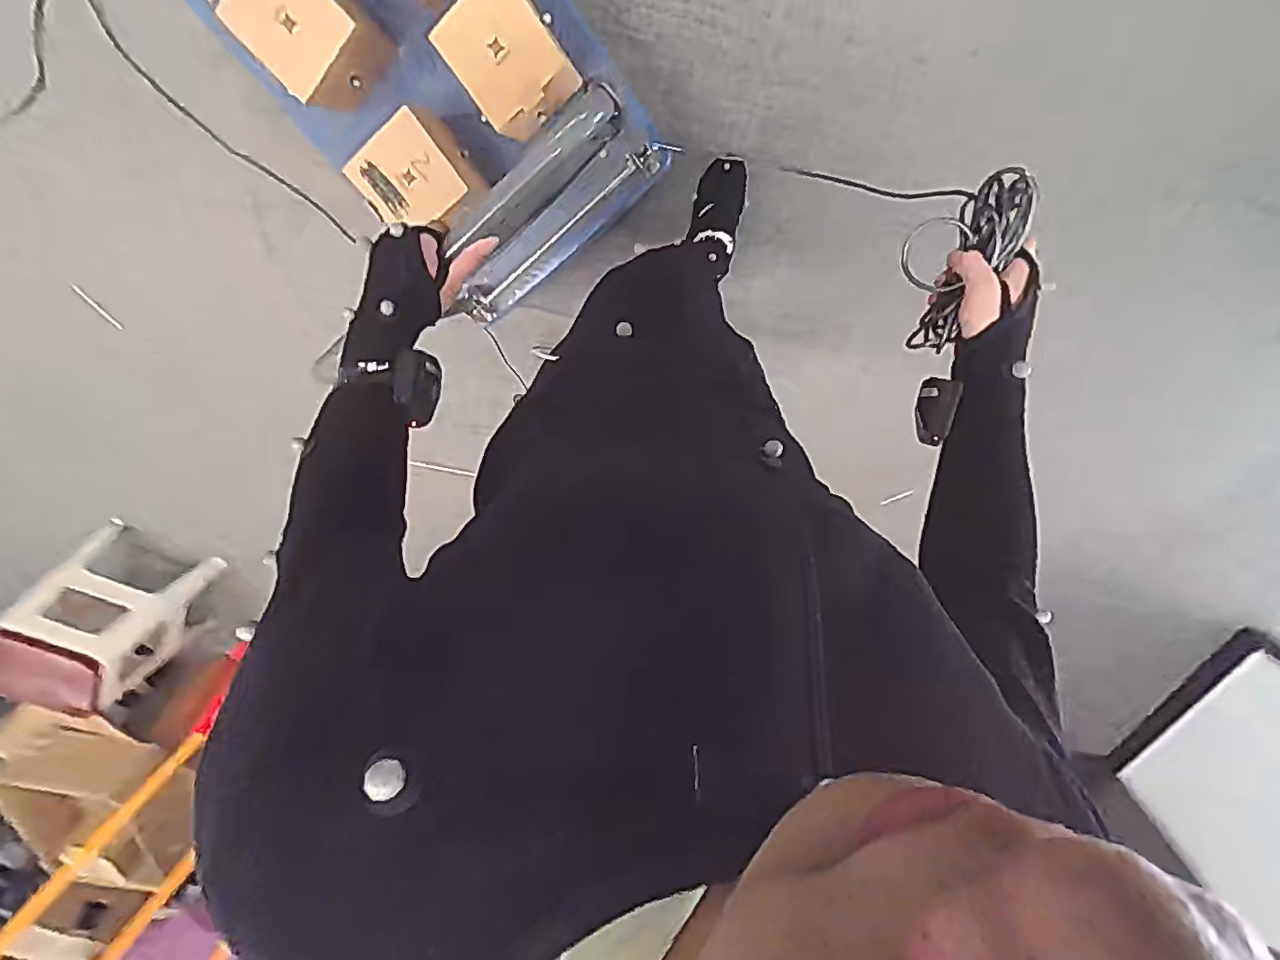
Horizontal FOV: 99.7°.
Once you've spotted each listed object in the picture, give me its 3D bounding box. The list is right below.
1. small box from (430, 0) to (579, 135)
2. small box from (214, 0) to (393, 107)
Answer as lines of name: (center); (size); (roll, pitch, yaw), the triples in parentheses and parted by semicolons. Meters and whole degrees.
small box: (-0.231, -0.756, 0.968); (0.168, 0.176, 0.179); (-33, 112, 18)
small box: (-0.581, -0.800, 0.960); (0.168, 0.176, 0.179); (-38, 110, 19)
